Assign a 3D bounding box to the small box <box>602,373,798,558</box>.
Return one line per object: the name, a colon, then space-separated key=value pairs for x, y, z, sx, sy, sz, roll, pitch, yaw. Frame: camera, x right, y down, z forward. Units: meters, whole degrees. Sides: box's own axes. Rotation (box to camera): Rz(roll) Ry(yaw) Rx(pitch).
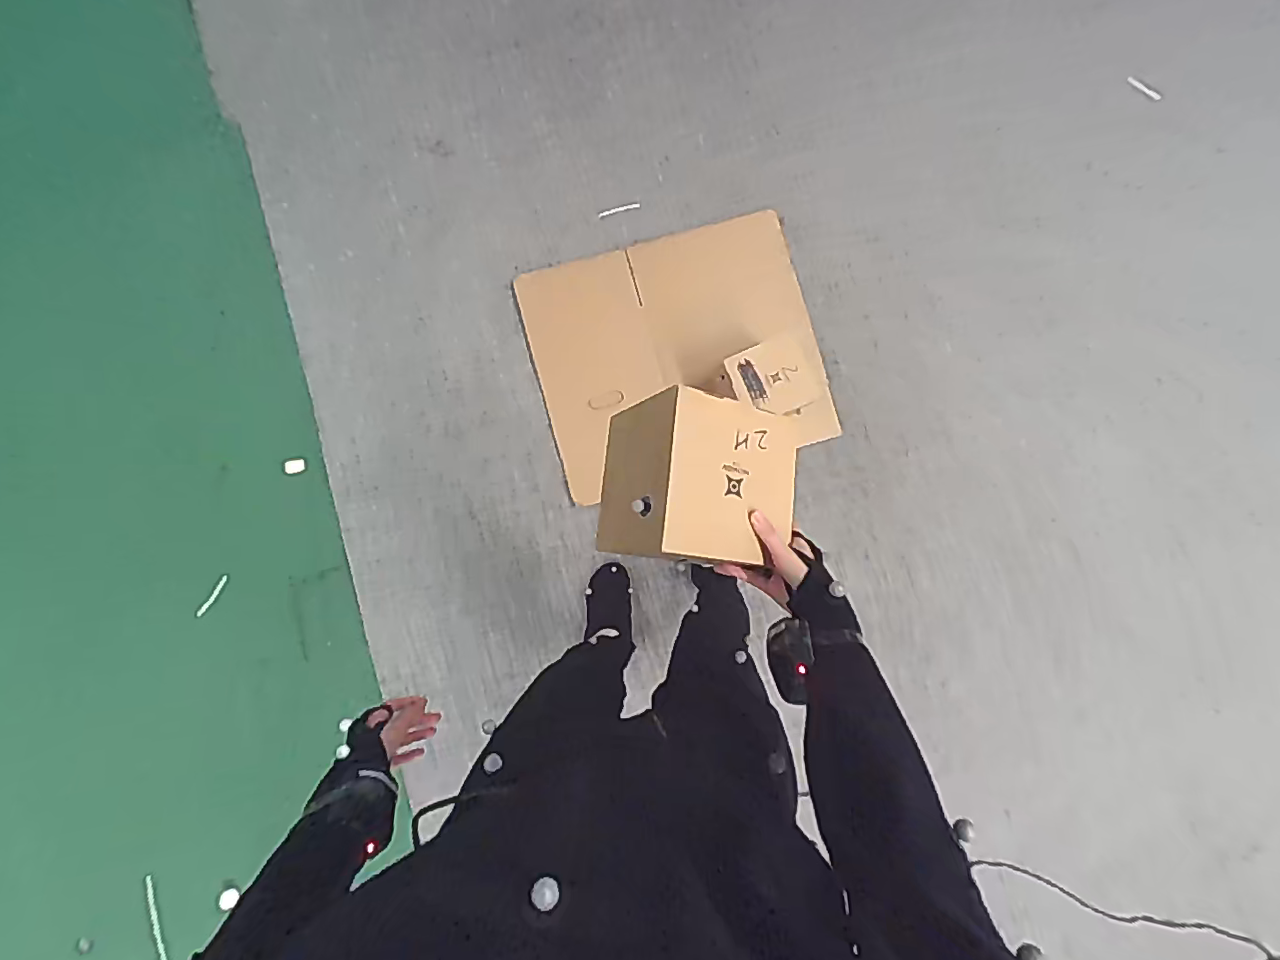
small box: x=0.065 y=-0.003 z=0.647 sx=0.168 sy=0.176 sz=0.179 roll=11 pitch=78 yaw=-26
